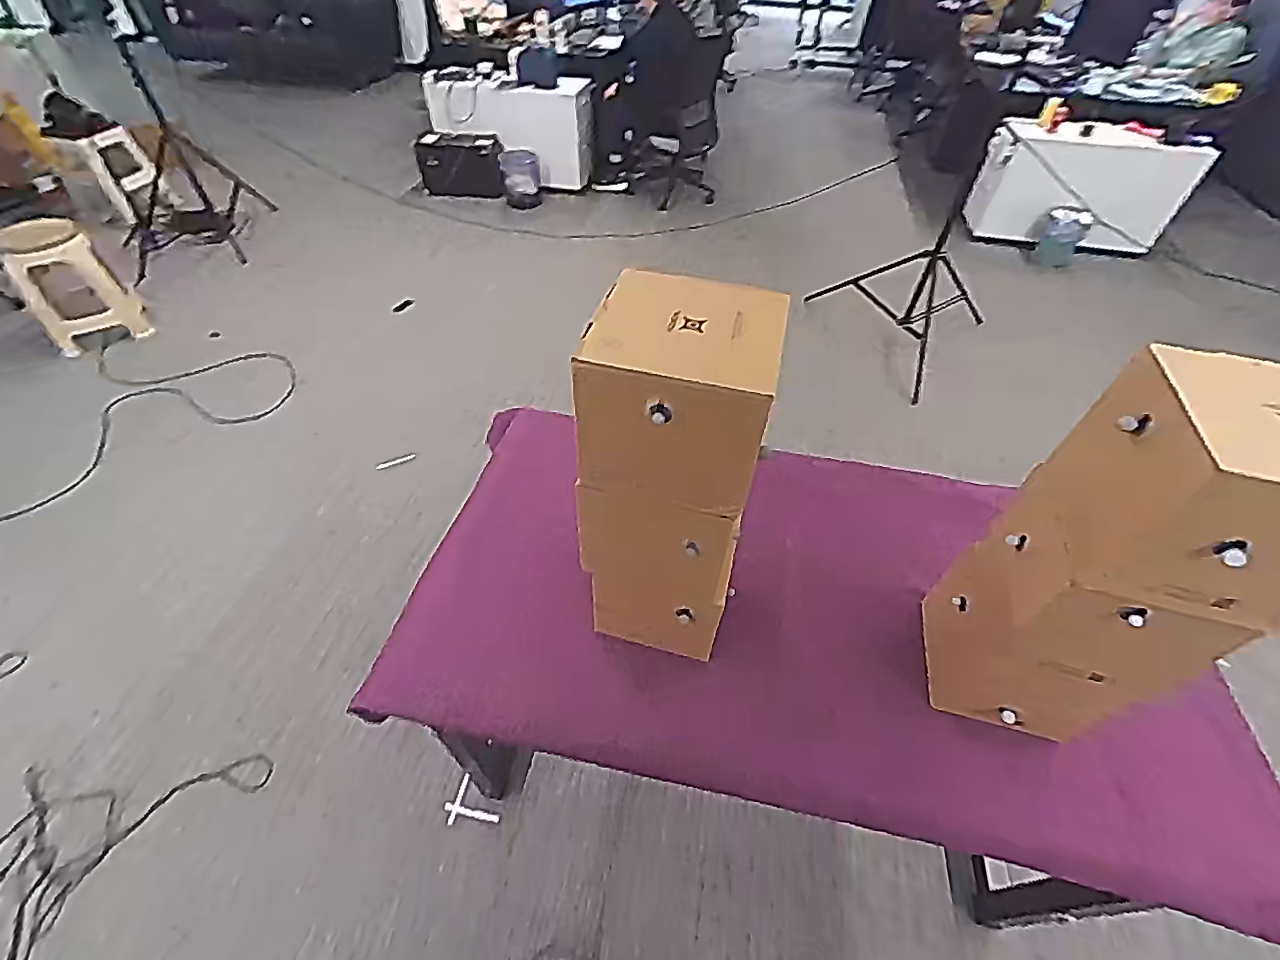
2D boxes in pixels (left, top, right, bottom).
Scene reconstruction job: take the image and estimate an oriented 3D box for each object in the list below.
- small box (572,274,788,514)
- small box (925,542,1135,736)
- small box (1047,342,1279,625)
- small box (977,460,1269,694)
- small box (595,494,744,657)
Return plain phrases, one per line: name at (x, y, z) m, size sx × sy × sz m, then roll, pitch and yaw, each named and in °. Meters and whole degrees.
small box at (0.042, -0.086, 0.557) m, size 0.179 × 0.176 × 0.168 m, roll 12°, pitch 49°, yaw 8°
small box at (0.510, 0.217, 0.738) m, size 0.168 × 0.176 × 0.179 m, roll 11°, pitch 49°, yaw 9°
small box at (0.515, 0.004, 0.489) m, size 0.168 × 0.176 × 0.179 m, roll 13°, pitch 48°, yaw 11°
small box at (0.512, 0.109, 0.614) m, size 0.168 × 0.176 × 0.179 m, roll 13°, pitch 48°, yaw 11°
small box at (0.043, 0.138, 0.795) m, size 0.179 × 0.176 × 0.168 m, roll 12°, pitch 48°, yaw 9°
